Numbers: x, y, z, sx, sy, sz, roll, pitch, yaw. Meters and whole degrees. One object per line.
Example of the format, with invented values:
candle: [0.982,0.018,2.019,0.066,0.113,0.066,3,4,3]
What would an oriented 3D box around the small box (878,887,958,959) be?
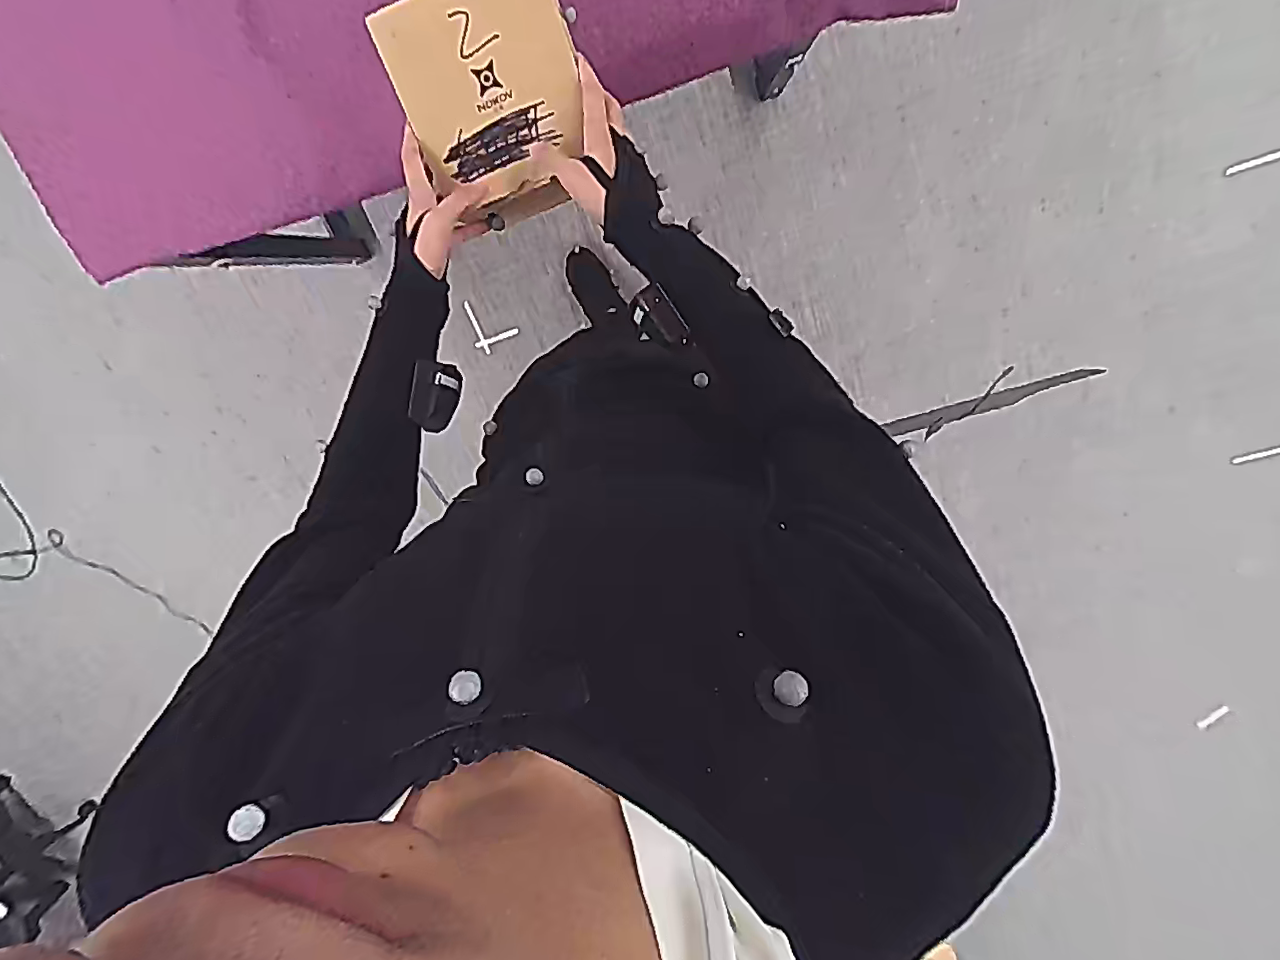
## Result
small box: [0.931,1.511,1.816,0.179,0.176,0.168,-20,111,10]
